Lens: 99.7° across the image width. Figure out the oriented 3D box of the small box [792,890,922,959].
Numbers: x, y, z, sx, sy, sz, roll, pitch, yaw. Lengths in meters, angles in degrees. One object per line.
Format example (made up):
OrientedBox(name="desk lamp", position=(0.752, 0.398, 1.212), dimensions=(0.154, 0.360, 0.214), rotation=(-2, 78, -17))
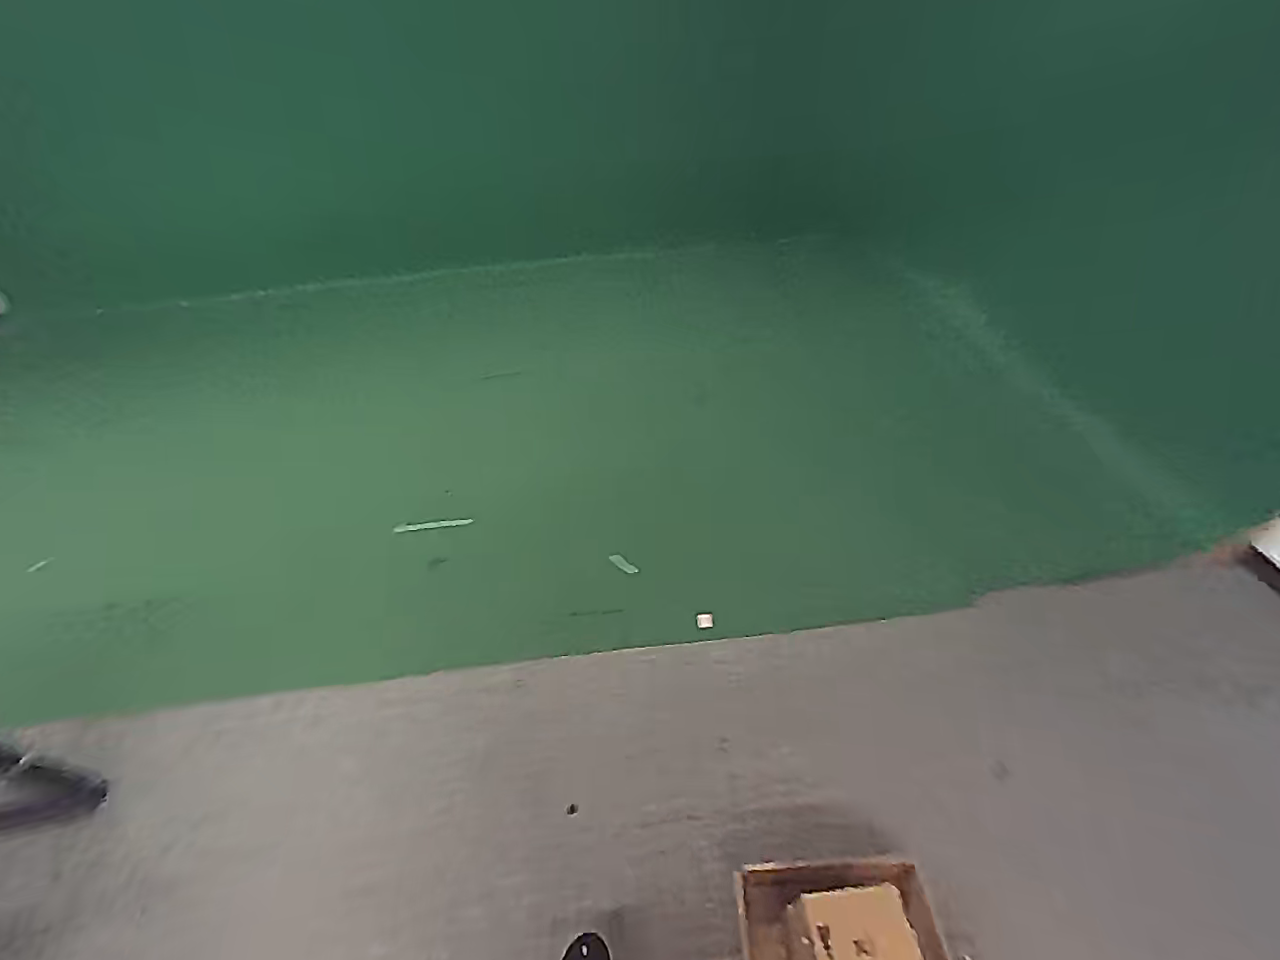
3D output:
OrientedBox(name="small box", position=(0.391, 0.859, 0.975), dimensions=(0.179, 0.176, 0.168), rotation=(-4, 43, -1))
